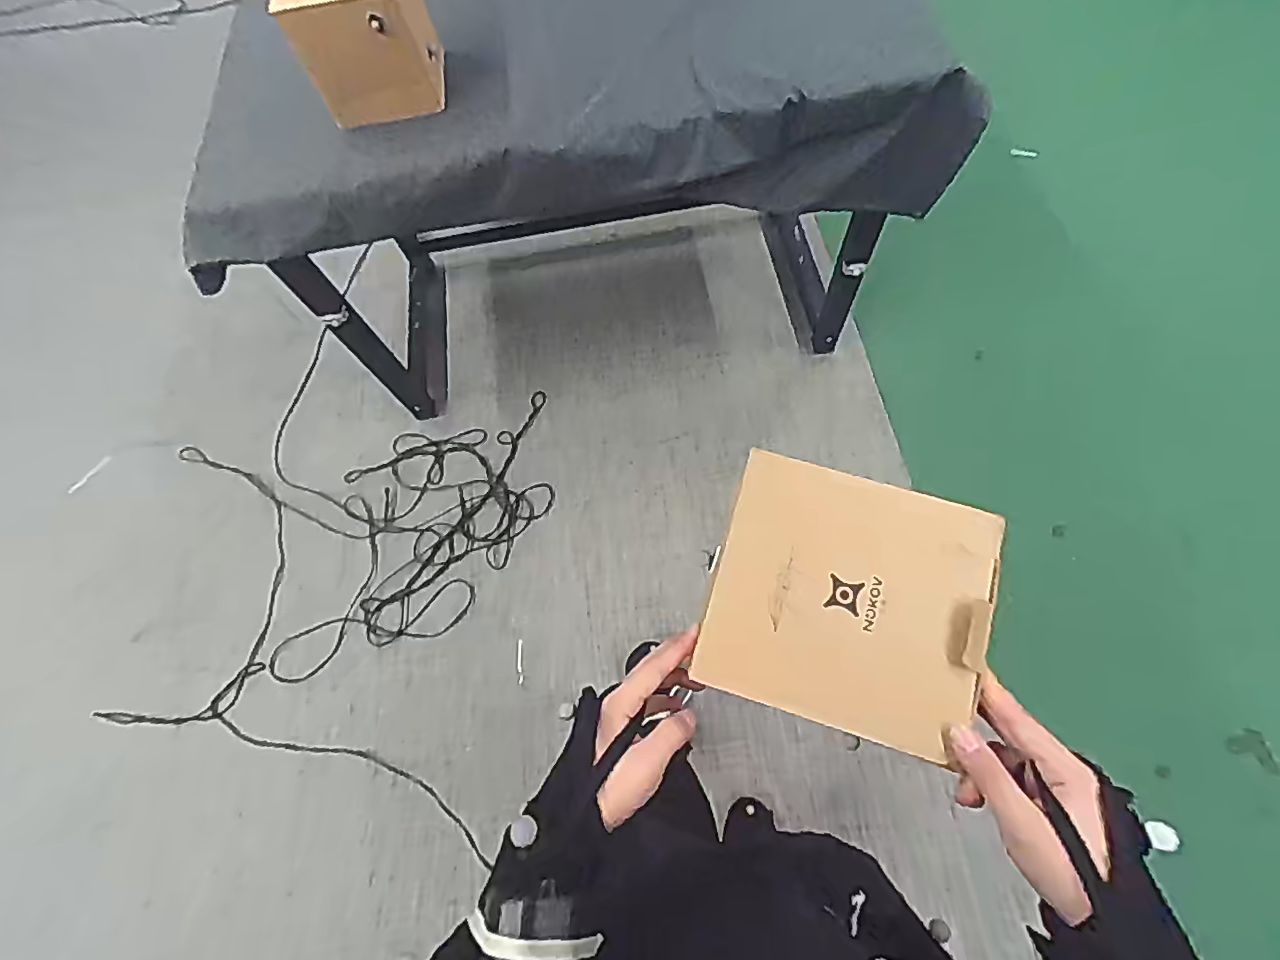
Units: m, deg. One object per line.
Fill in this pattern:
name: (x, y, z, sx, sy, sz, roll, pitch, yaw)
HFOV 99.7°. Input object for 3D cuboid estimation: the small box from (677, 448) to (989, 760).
small box: (0.135, 0.095, 0.433, 0.179, 0.176, 0.168, 15, 75, 9)

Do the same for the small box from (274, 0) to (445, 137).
small box: (-0.427, -0.676, 0.850, 0.179, 0.176, 0.168, -10, 66, 1)
